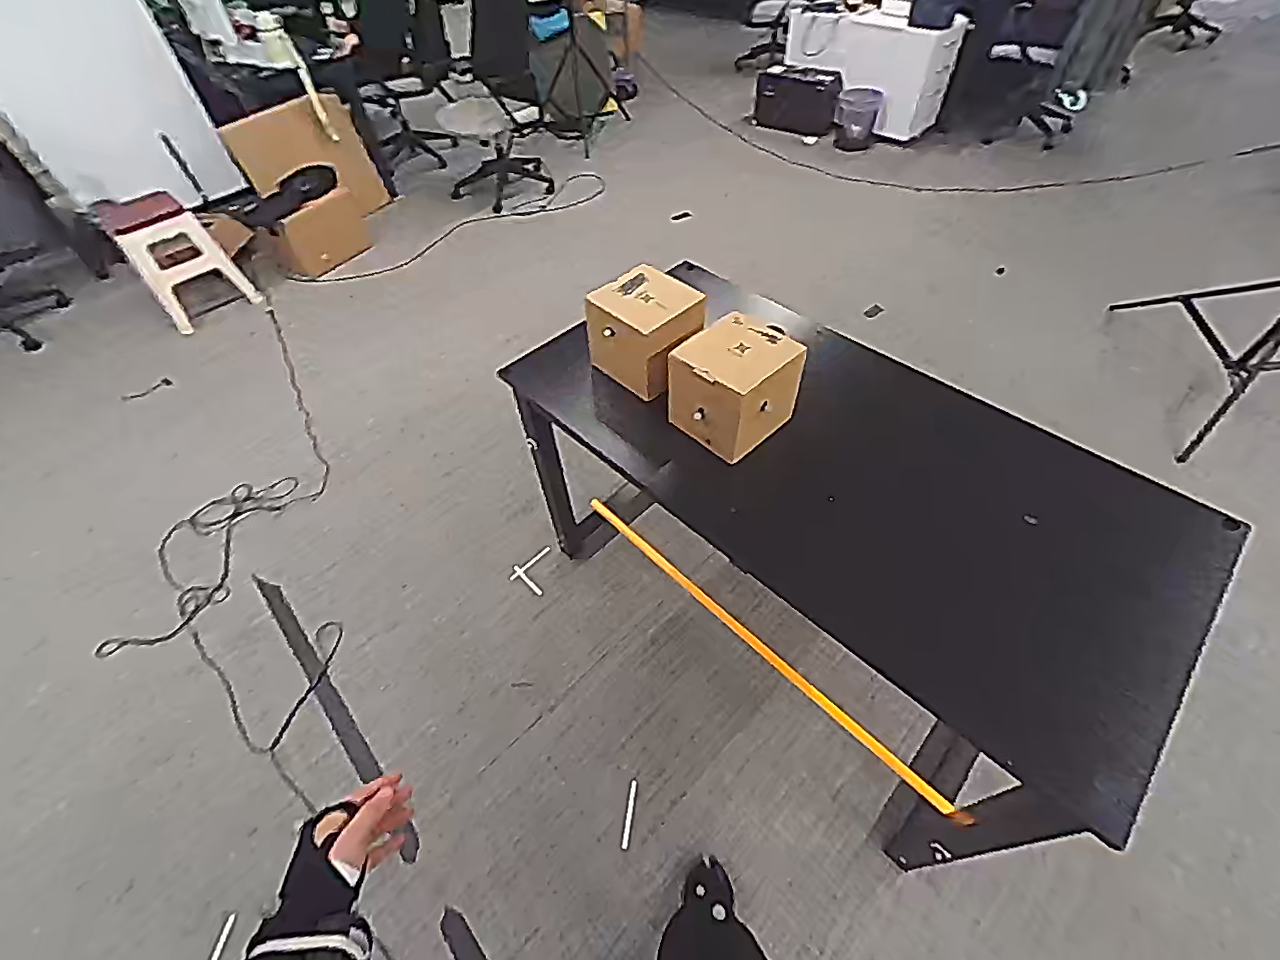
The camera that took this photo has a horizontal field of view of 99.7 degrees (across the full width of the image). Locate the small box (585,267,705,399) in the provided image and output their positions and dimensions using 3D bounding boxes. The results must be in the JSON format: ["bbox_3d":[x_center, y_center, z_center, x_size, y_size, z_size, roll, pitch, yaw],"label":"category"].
[{"bbox_3d":[0.011,-0.296,1.100,0.168,0.176,0.179,-38,60,-24],"label":"small box"}]

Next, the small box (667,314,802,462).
[{"bbox_3d":[0.167,-0.165,0.989,0.179,0.176,0.168,-38,60,-24],"label":"small box"}]
